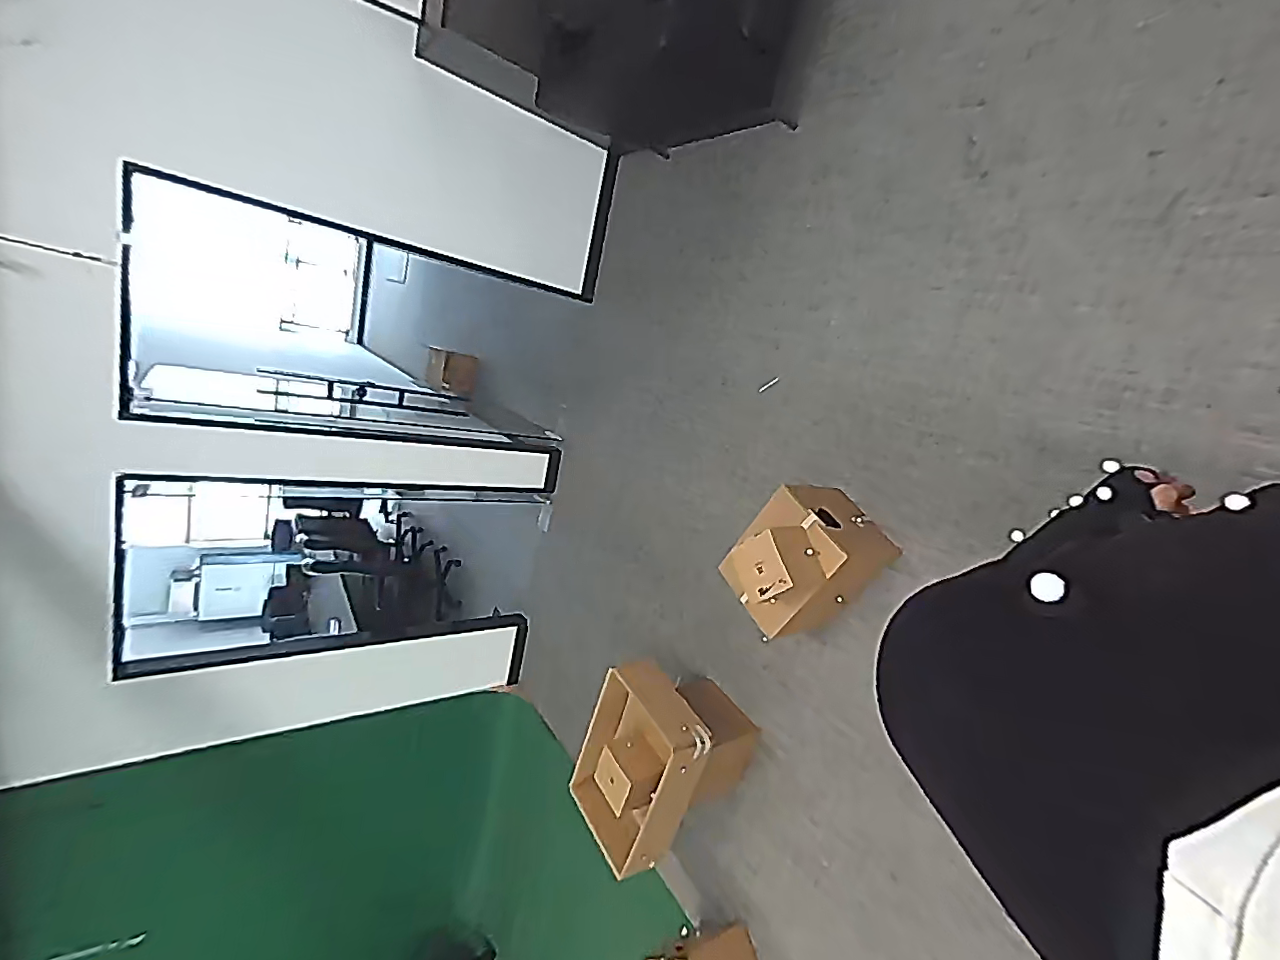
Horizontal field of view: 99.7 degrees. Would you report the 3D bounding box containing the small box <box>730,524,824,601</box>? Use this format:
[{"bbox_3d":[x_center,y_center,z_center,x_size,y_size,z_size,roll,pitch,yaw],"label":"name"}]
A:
[{"bbox_3d":[0.401,0.240,1.582,0.168,0.176,0.179,-41,58,42],"label":"small box"}]

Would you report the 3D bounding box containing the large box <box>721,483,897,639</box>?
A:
[{"bbox_3d":[0.549,0.257,1.790,0.320,0.320,0.408,56,130,38],"label":"large box"}]
